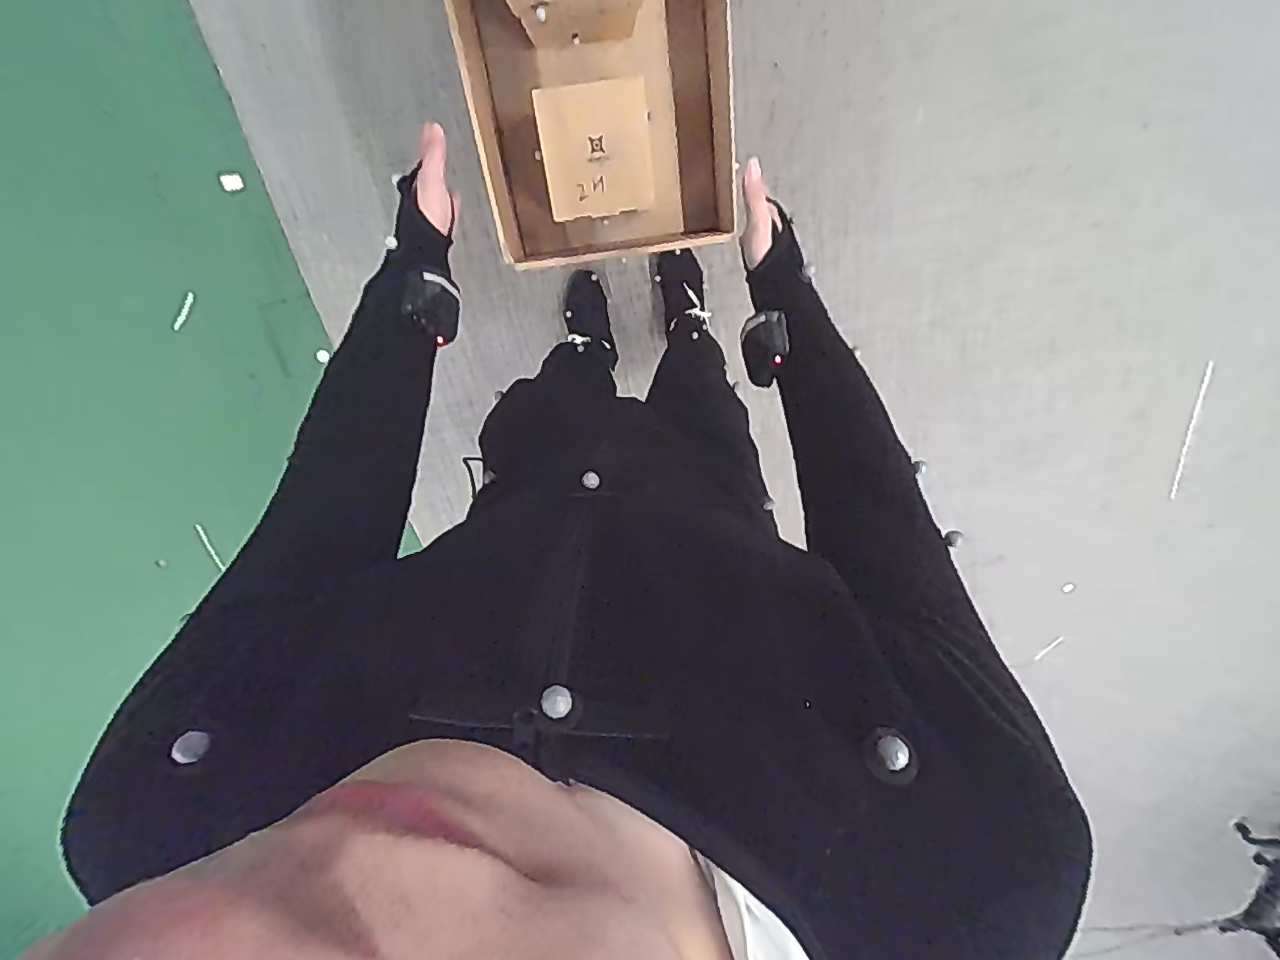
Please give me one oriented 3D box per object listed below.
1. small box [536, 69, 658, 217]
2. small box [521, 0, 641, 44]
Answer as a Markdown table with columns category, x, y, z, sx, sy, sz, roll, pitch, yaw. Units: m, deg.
| category | x | y | z | sx | sy | sz | roll | pitch | yaw |
| --- | --- | --- | --- | --- | --- | --- | --- | --- | --- |
| small box | -0.065 | -0.533 | 0.879 | 0.168 | 0.176 | 0.179 | -7 | 116 | 1 |
| small box | -0.096 | -0.760 | 0.771 | 0.168 | 0.176 | 0.179 | -9 | 120 | 1 |
